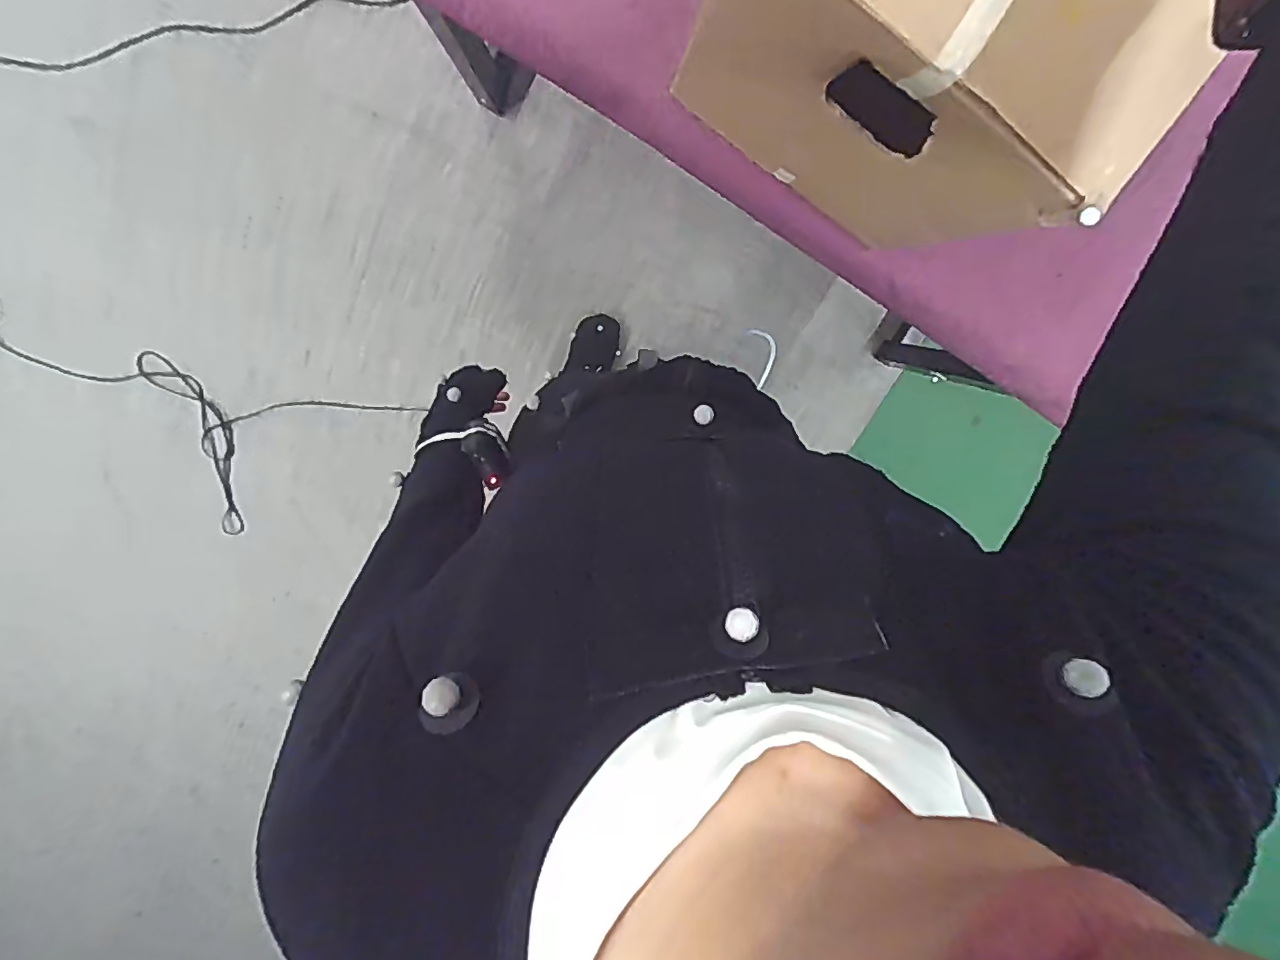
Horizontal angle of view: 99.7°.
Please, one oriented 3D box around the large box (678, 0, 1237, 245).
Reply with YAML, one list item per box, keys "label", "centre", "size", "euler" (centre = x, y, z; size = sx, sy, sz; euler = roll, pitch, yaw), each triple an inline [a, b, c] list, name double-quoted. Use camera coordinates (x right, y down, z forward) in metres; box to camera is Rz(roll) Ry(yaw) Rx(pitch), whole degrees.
- label: "large box"
  centre: [0.281, -0.476, 0.457]
  size: [0.320, 0.320, 0.408]
  euler: [30, 104, -13]
